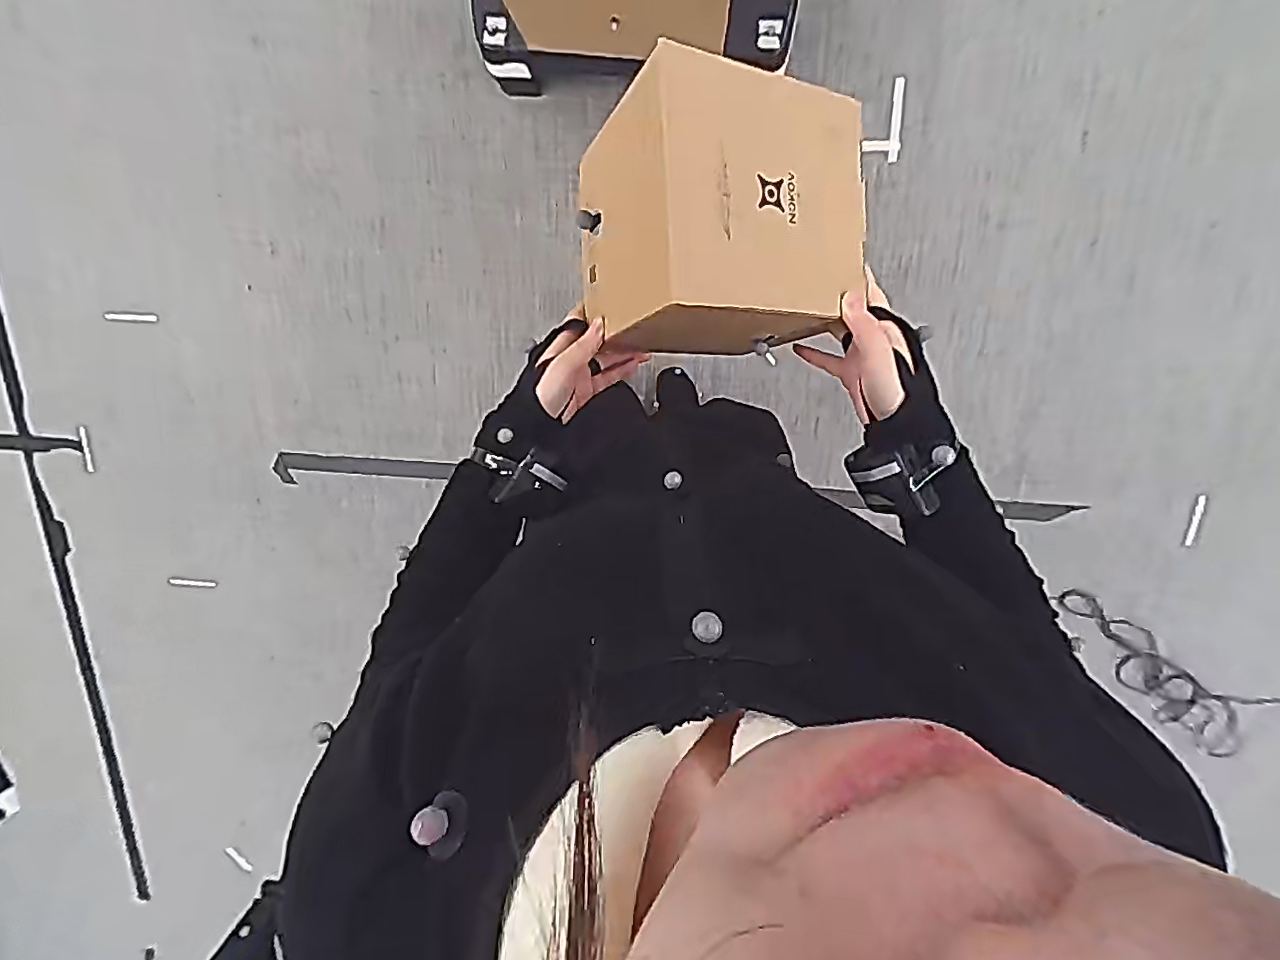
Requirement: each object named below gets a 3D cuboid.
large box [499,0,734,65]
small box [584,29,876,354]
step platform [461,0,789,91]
[{"bbox_3d":[-0.028,-0.961,0.926,0.408,0.320,0.320,7,103,4],"label":"large box"},{"bbox_3d":[0.065,-0.202,0.442,0.179,0.176,0.168,-3,93,-25],"label":"small box"},{"bbox_3d":[-0.030,-1.008,1.162,0.684,0.204,0.286,9,104,4],"label":"step platform"}]
